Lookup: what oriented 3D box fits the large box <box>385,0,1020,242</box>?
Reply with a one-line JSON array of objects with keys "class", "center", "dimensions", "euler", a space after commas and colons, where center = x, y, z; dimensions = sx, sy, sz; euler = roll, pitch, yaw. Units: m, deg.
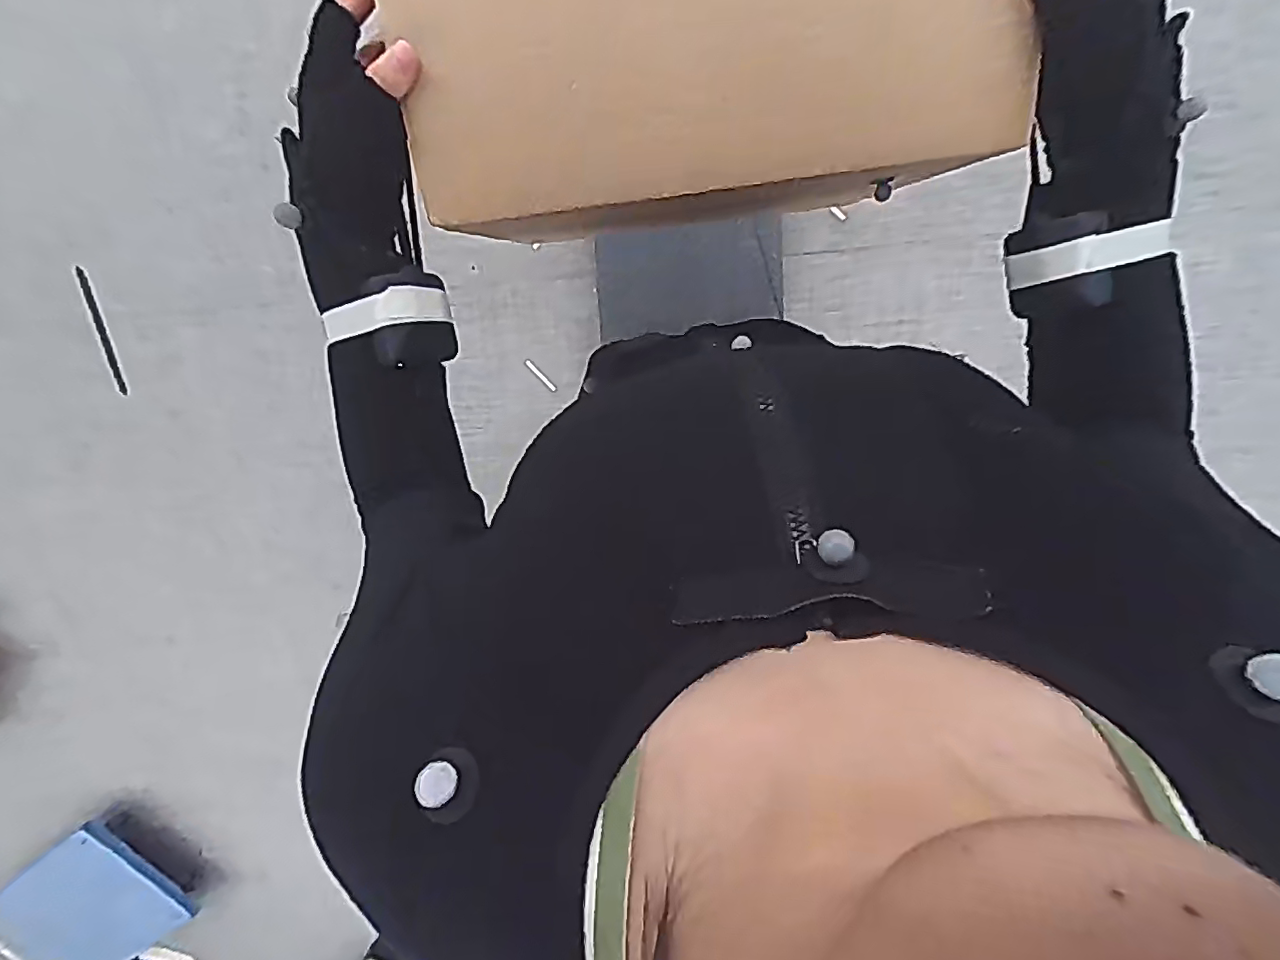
[{"class": "large box", "center": [0.035, -0.398, 0.460], "dimensions": [0.408, 0.320, 0.320], "euler": [-6, 111, 2]}]
